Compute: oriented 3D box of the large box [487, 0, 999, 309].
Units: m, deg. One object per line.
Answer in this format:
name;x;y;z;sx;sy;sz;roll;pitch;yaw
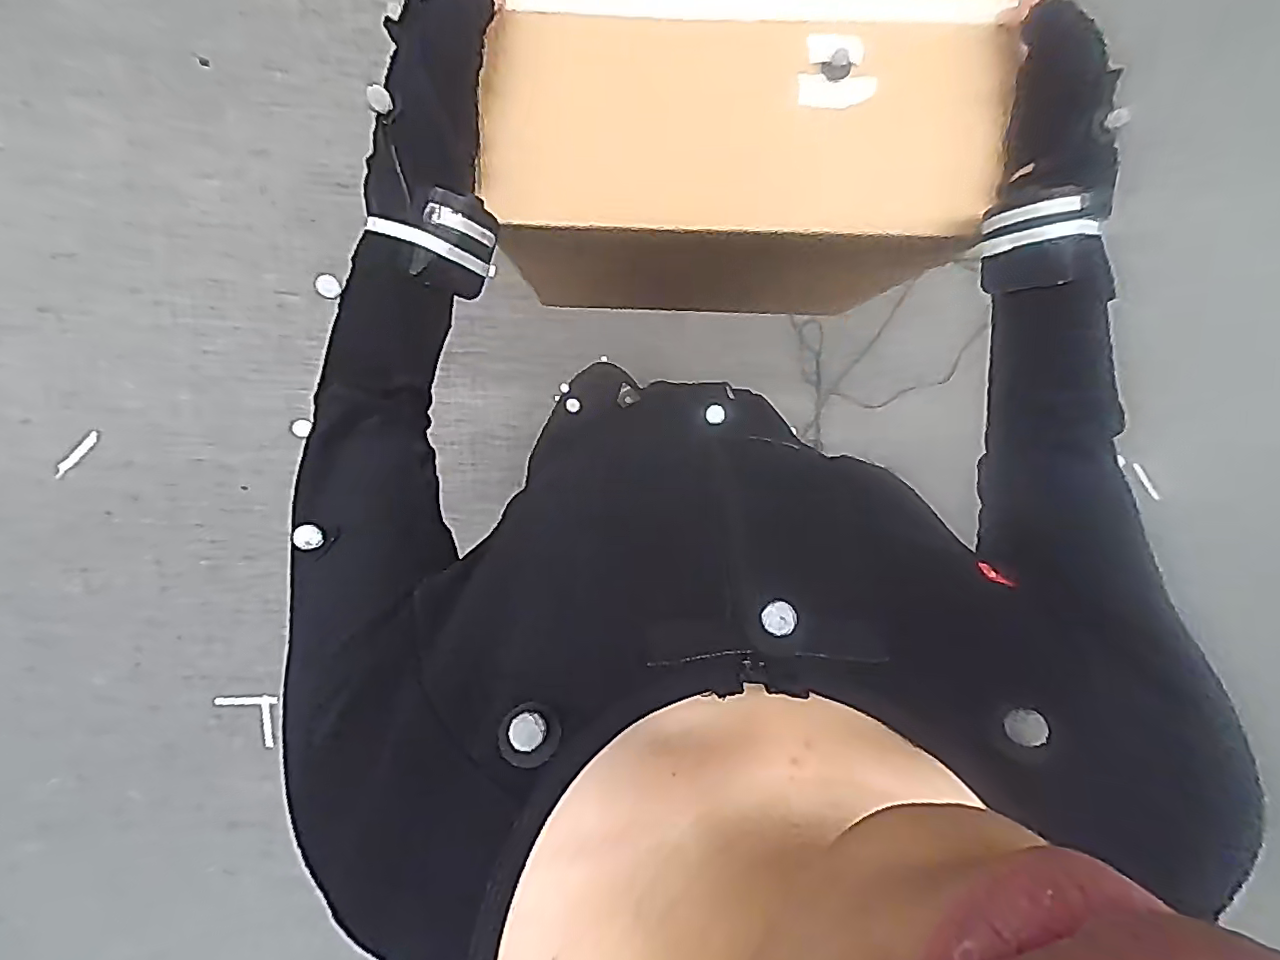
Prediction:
large box;0.075;-0.370;0.565;0.408;0.320;0.320;1;96;-1
